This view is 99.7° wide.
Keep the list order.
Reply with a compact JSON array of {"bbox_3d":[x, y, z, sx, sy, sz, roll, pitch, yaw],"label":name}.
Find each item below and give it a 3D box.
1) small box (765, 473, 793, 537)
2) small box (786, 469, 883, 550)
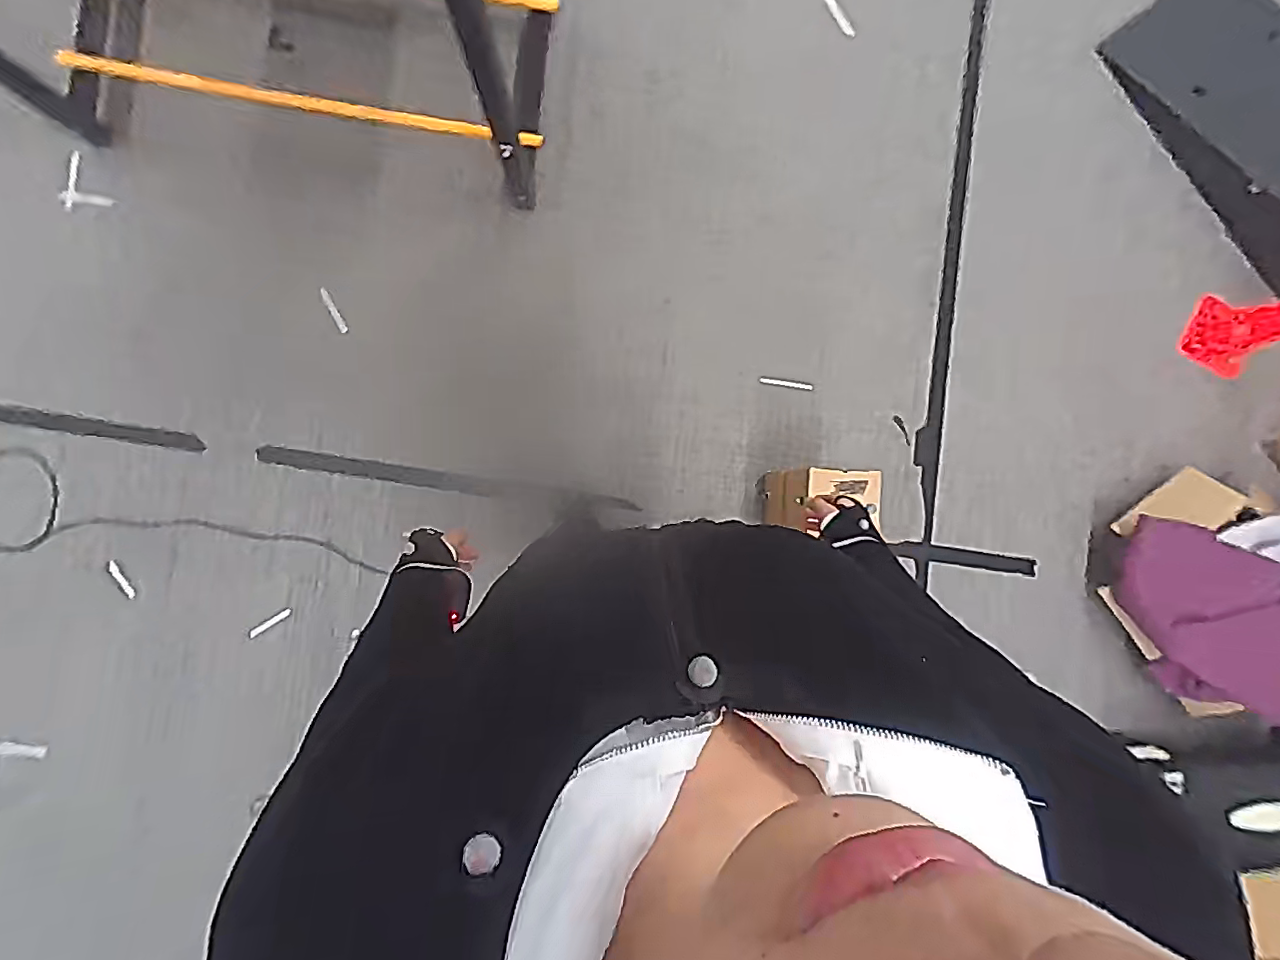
[{"bbox_3d":[0.445,0.066,1.450,0.179,0.176,0.168,1,88,-2],"label":"small box"},{"bbox_3d":[0.455,0.068,1.285,0.168,0.176,0.179,3,89,-3],"label":"small box"}]
